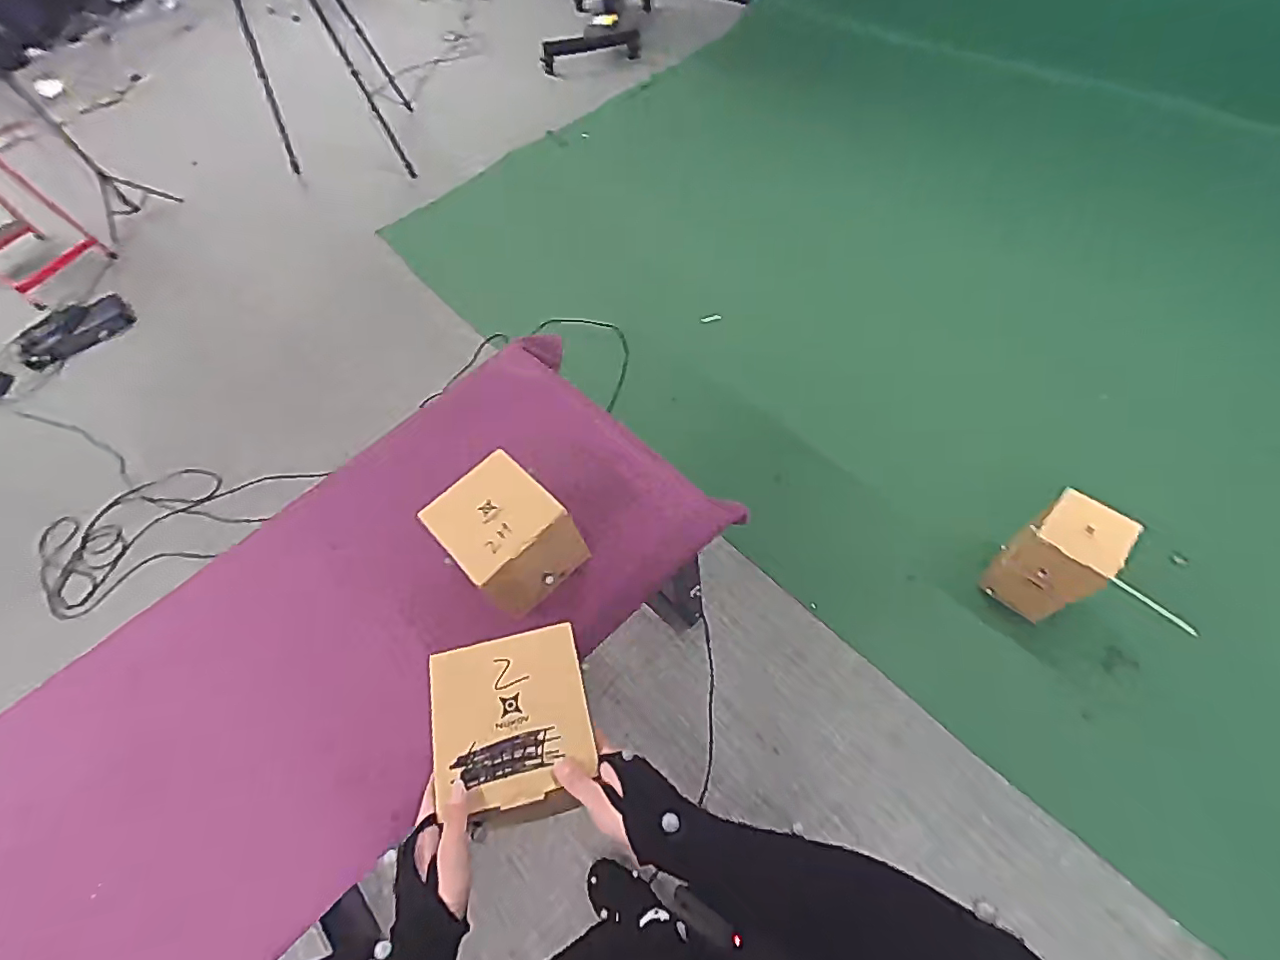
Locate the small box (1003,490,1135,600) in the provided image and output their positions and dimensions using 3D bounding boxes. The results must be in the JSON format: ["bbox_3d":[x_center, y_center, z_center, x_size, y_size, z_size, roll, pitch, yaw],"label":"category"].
[{"bbox_3d":[1.043,0.164,1.331,0.168,0.176,0.179,38,71,25],"label":"small box"}]

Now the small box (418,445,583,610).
[{"bbox_3d":[-0.219,0.083,0.883,0.168,0.176,0.179,-41,62,-15],"label":"small box"}]

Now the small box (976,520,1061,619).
[{"bbox_3d":[1.053,0.249,1.469,0.179,0.176,0.168,-42,63,-18],"label":"small box"}]
